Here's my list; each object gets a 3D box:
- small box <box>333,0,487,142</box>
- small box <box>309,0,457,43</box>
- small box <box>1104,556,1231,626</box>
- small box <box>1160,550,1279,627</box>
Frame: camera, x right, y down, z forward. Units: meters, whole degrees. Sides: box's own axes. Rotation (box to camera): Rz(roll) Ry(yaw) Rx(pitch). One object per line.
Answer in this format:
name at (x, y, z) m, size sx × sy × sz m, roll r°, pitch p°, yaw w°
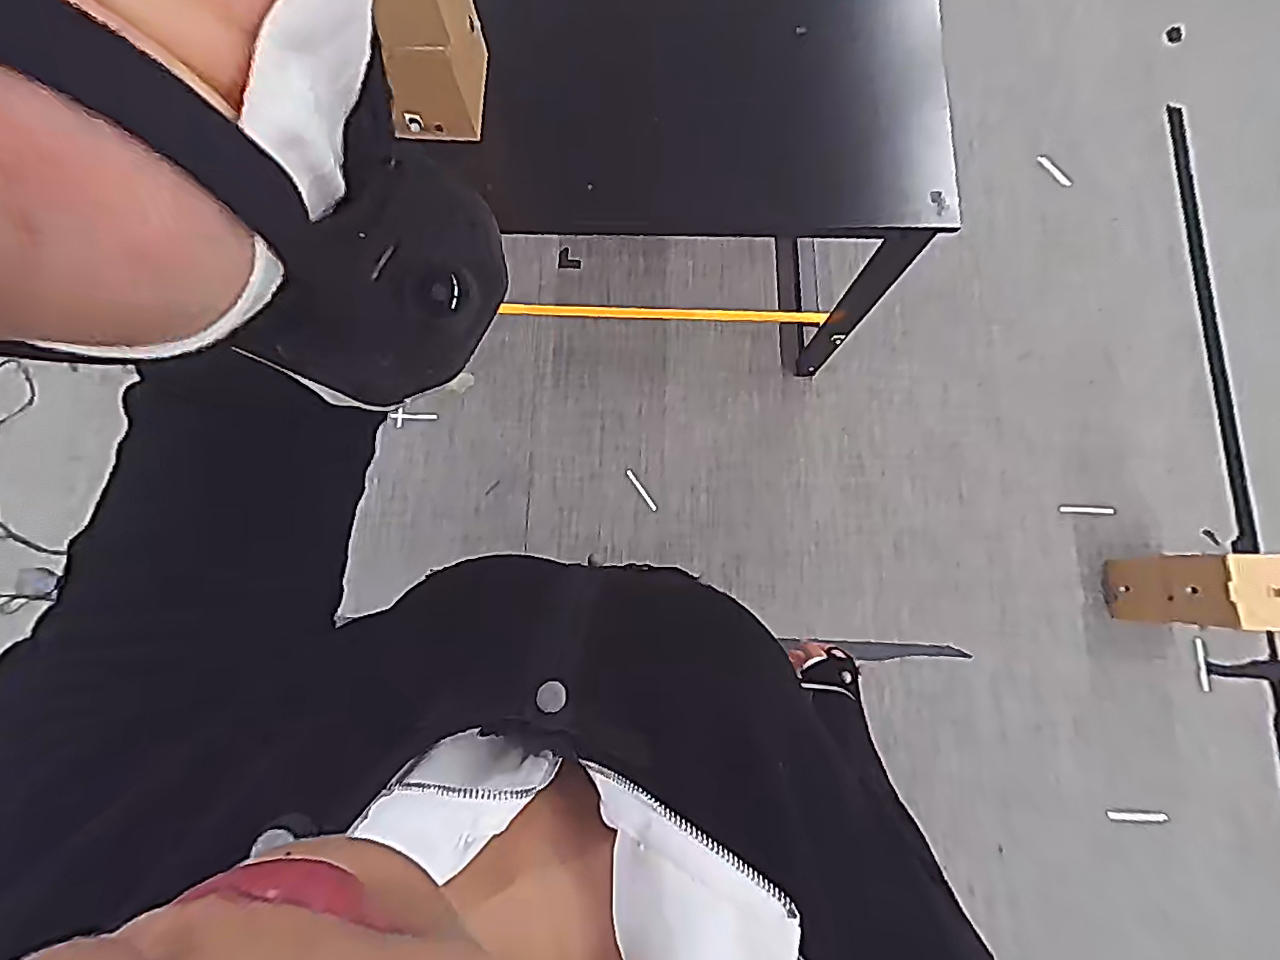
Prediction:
small box at (-0.345, -0.671, 0.846) m, size 0.168 × 0.176 × 0.179 m, roll 1°, pitch 81°, yaw 1°
small box at (-0.344, -0.698, 0.683) m, size 0.179 × 0.176 × 0.168 m, roll 0°, pitch 80°, yaw 0°
small box at (1.383, 0.288, 1.423) m, size 0.179 × 0.176 × 0.168 m, roll 3°, pitch 80°, yaw 1°
small box at (1.372, 0.253, 1.263) m, size 0.179 × 0.176 × 0.168 m, roll 1°, pitch 80°, yaw 1°
